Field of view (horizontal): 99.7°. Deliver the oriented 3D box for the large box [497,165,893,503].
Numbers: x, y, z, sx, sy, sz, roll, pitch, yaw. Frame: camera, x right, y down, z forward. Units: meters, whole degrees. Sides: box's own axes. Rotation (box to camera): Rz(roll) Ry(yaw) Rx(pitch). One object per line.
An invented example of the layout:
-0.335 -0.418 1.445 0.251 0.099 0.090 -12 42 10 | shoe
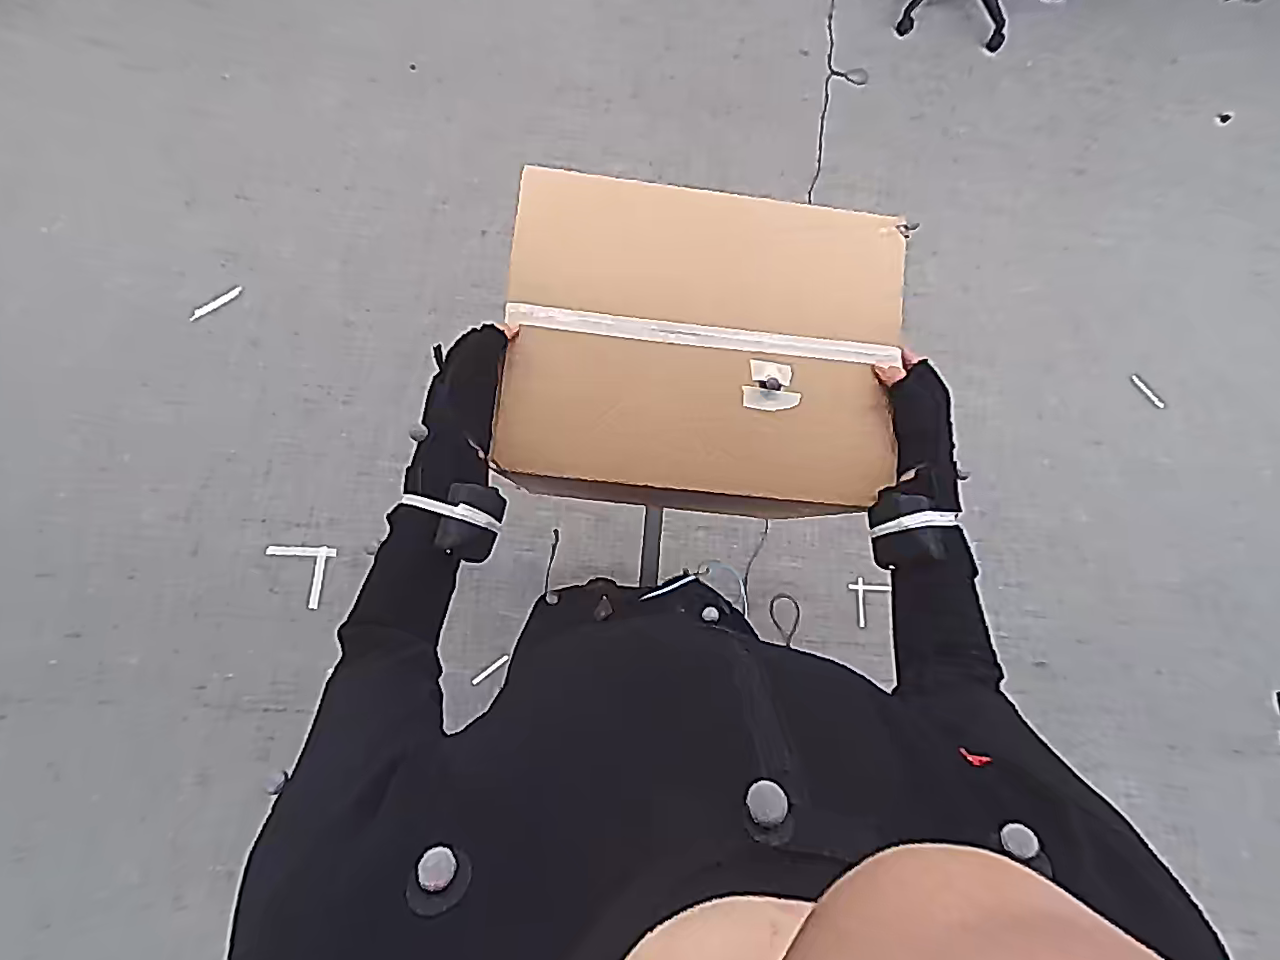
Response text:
0.052 -0.145 0.708 0.408 0.320 0.320 6 86 -5 | large box
